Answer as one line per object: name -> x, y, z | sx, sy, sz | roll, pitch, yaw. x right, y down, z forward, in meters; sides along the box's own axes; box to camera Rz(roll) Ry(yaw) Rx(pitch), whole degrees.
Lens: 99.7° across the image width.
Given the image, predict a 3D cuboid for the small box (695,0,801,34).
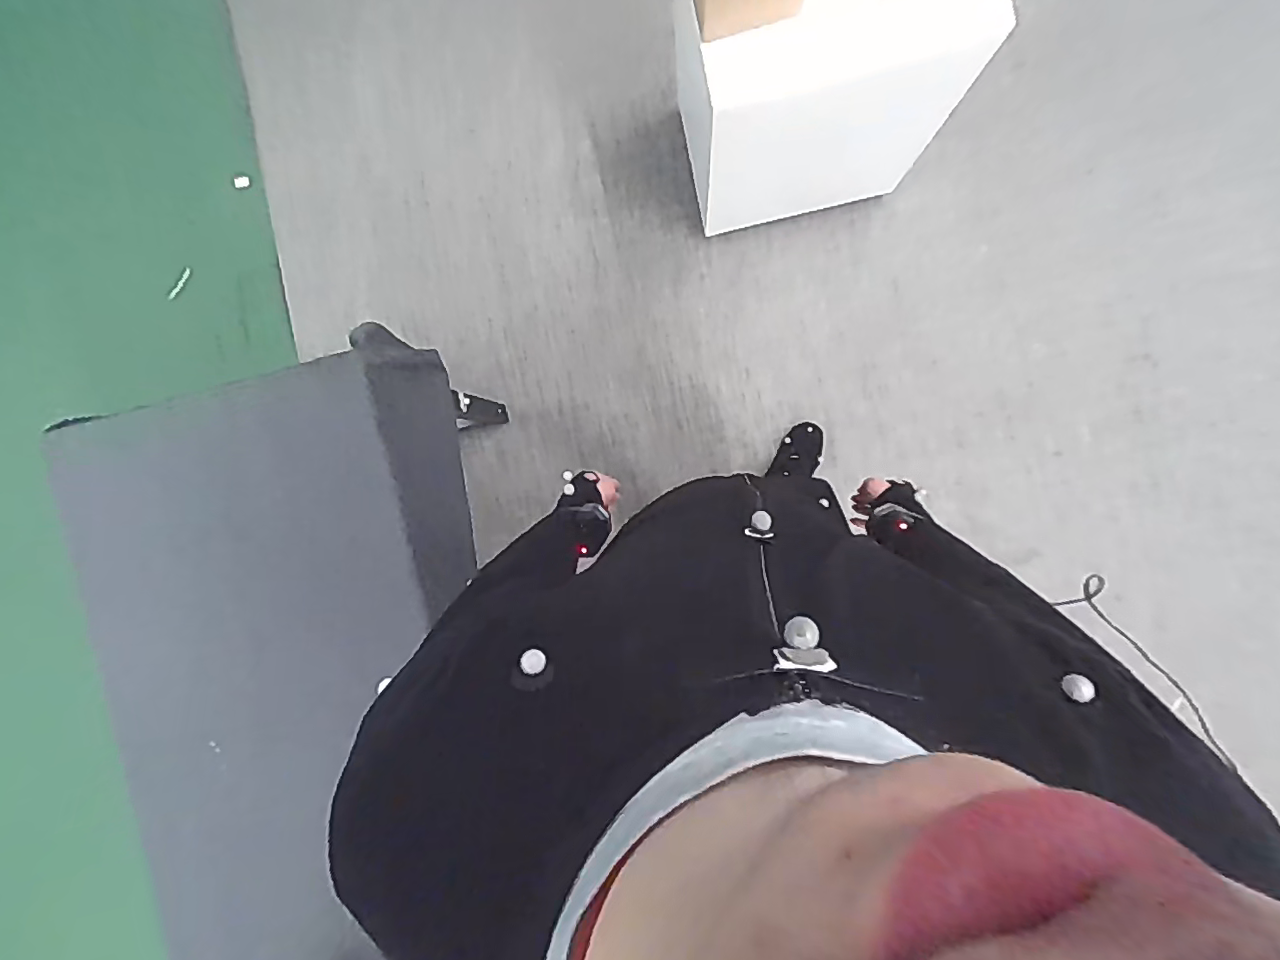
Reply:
small box -> 0.165, -0.848, 0.838 | 0.179, 0.176, 0.168 | -13, 91, 4
